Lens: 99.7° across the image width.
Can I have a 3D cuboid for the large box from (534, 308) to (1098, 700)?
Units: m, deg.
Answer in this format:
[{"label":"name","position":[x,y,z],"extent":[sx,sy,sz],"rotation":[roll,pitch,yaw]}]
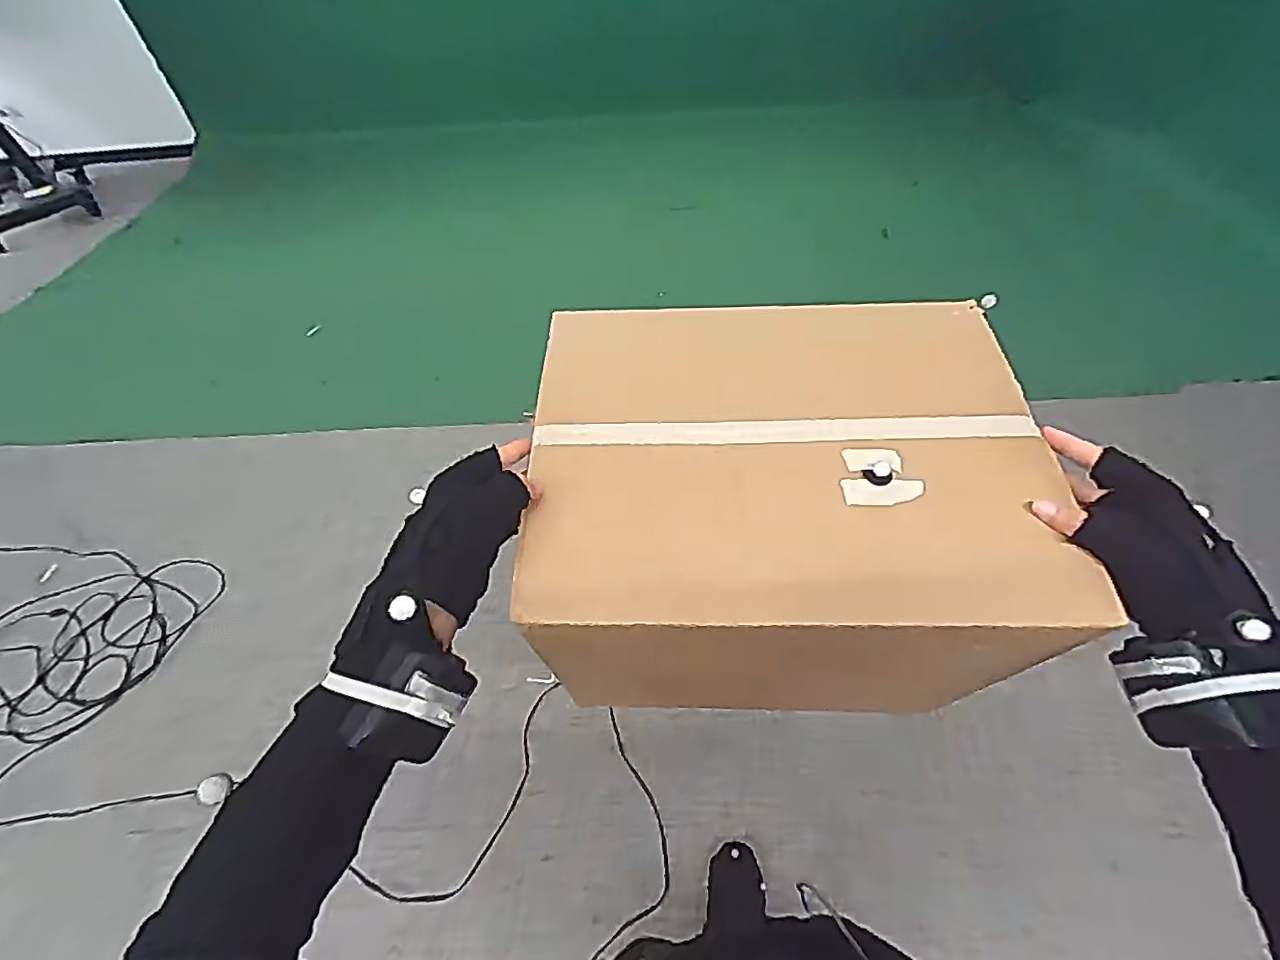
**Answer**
[{"label":"large box","position":[0.123,0.043,0.582],"extent":[0.408,0.320,0.320],"rotation":[-1,58,2]}]
